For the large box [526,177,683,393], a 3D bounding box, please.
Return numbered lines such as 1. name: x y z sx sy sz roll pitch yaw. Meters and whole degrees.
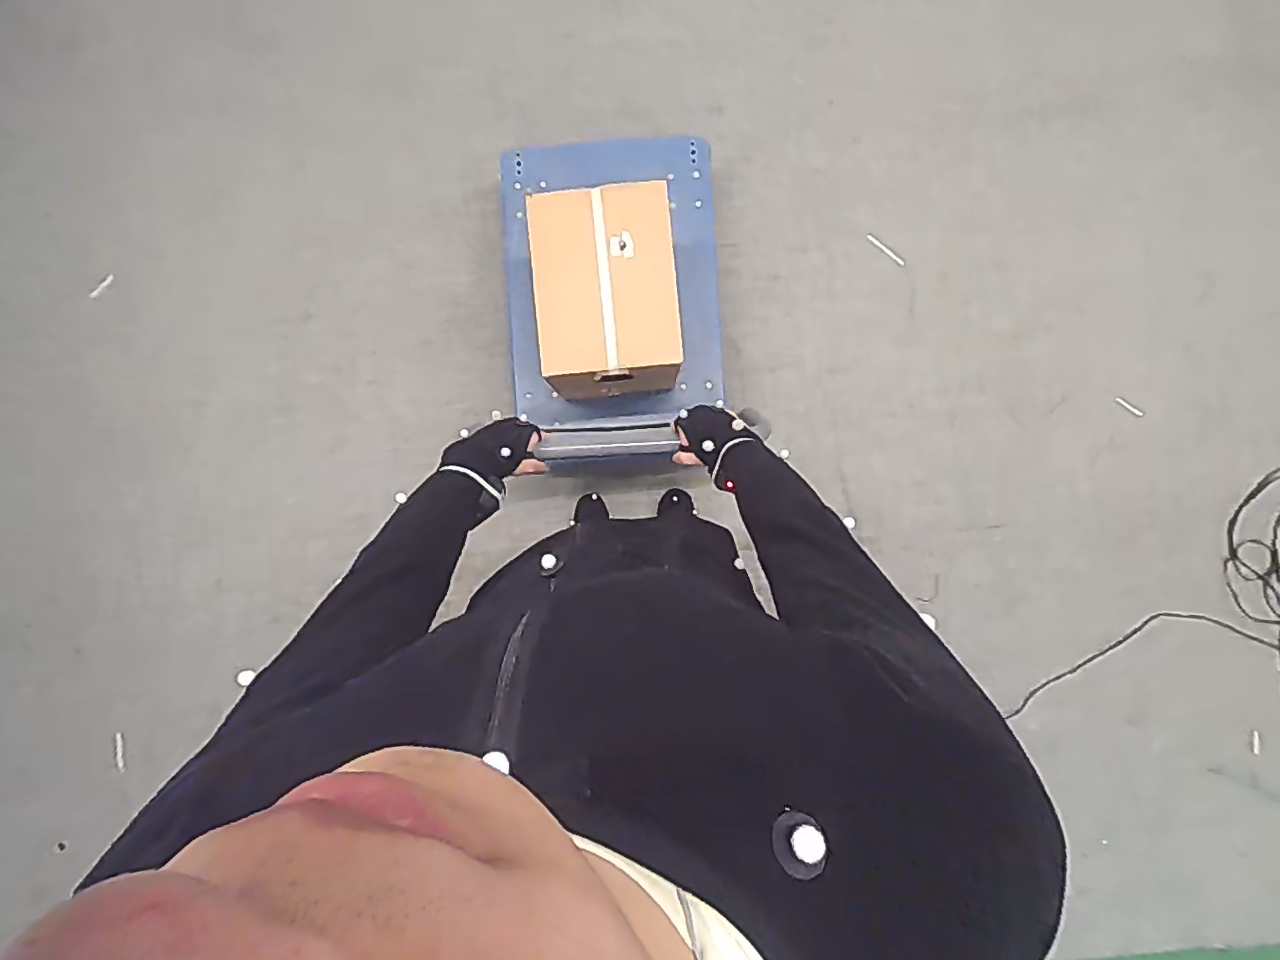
1. large box: -0.075 -0.450 1.333 0.320 0.320 0.408 -6 90 0
